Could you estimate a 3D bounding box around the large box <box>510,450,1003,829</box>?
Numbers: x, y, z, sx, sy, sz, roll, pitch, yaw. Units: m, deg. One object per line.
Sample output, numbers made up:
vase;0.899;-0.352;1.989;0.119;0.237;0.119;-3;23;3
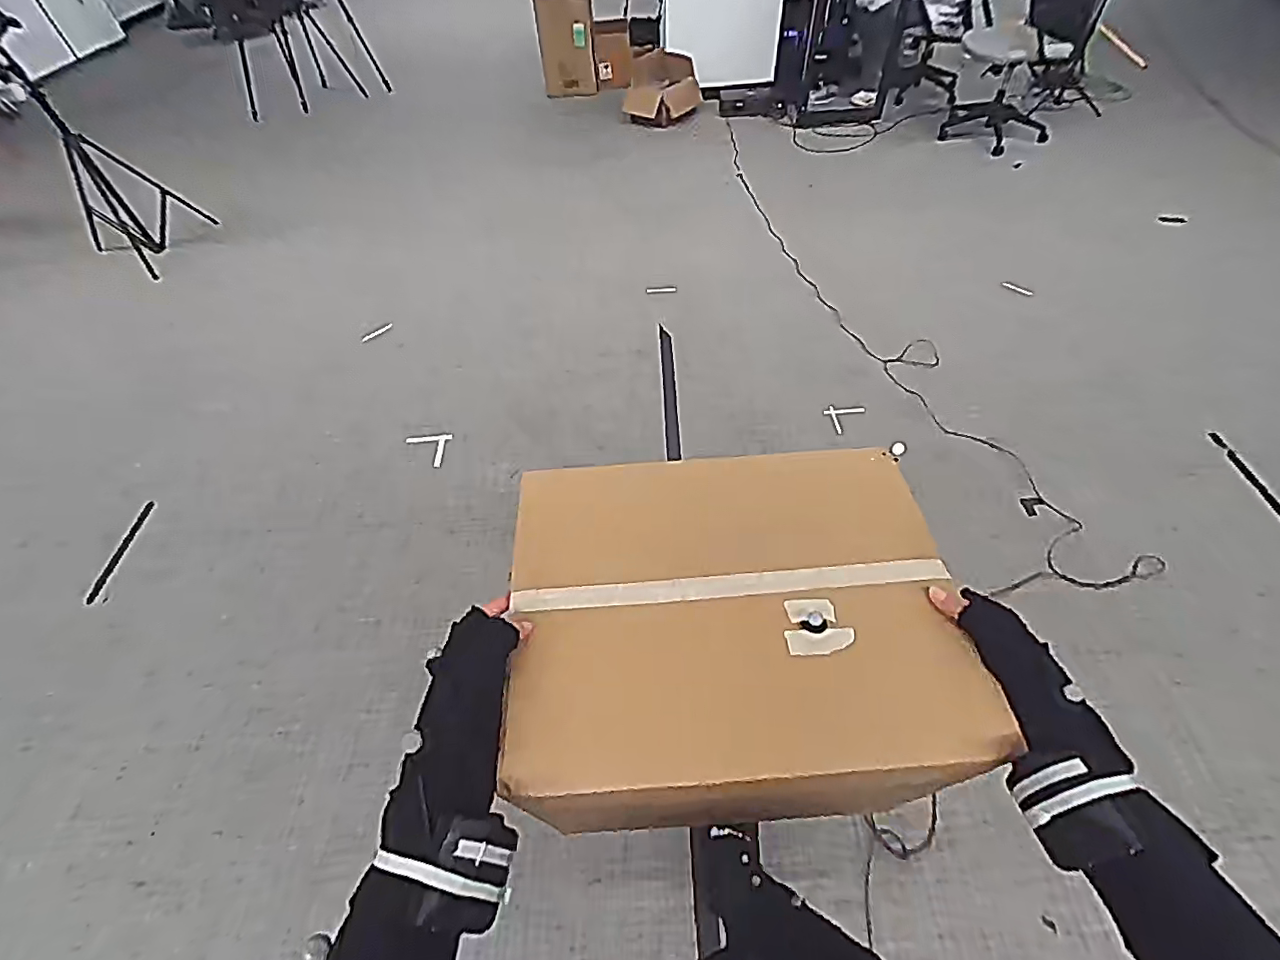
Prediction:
large box;0.087;0.193;0.633;0.408;0.320;0.320;-4;52;-1
